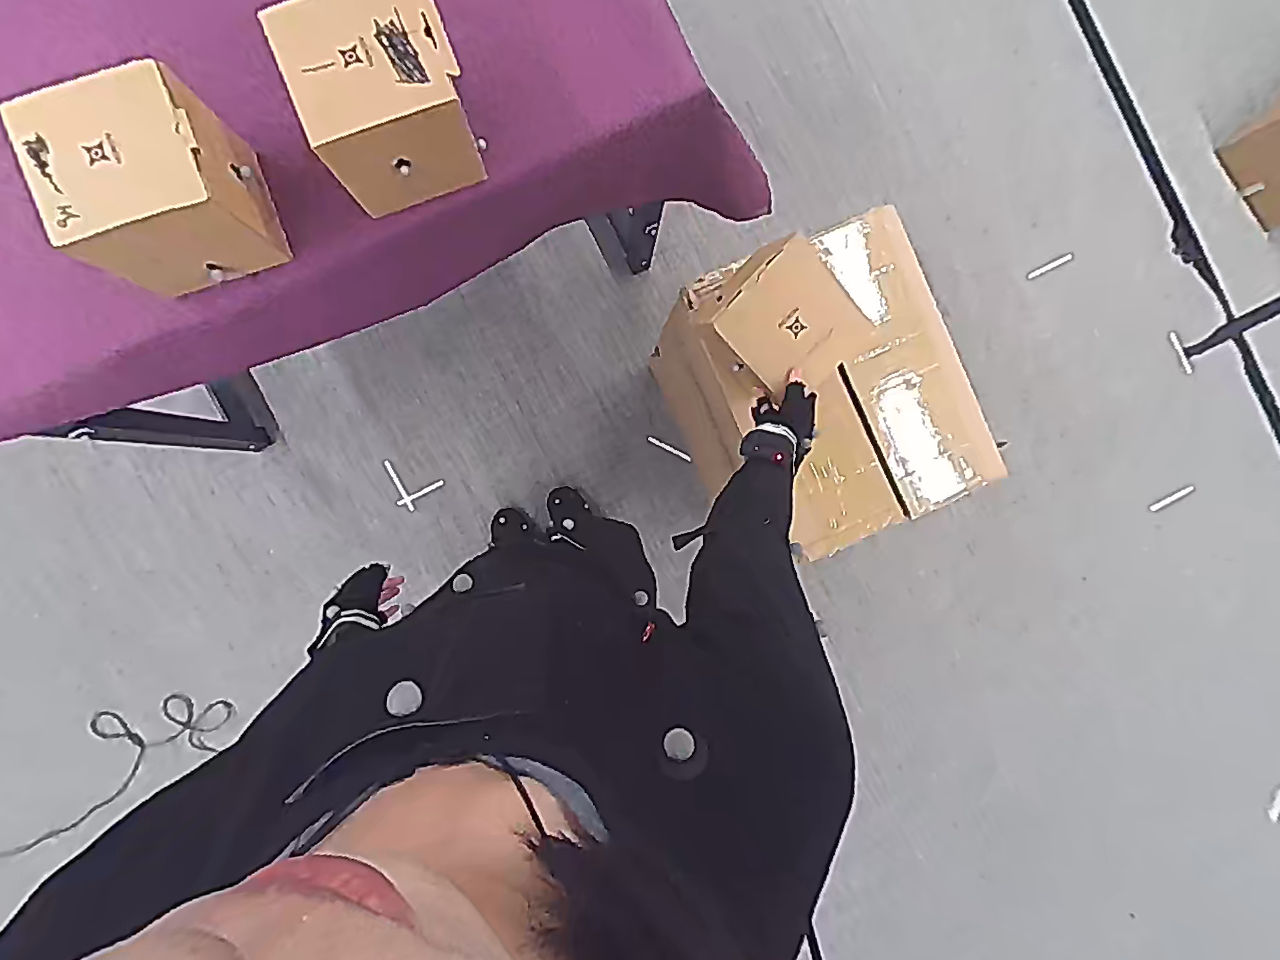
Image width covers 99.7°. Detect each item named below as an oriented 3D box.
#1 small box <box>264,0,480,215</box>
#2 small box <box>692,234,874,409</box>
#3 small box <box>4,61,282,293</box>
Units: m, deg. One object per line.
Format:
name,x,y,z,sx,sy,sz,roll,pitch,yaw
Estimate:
small box,-0.320,-0.477,0.692,0.179,0.176,0.168,-21,90,-4
small box,0.201,-0.232,0.814,0.179,0.176,0.168,42,98,-16
small box,-0.585,-0.358,0.671,0.179,0.176,0.168,-20,90,-5
